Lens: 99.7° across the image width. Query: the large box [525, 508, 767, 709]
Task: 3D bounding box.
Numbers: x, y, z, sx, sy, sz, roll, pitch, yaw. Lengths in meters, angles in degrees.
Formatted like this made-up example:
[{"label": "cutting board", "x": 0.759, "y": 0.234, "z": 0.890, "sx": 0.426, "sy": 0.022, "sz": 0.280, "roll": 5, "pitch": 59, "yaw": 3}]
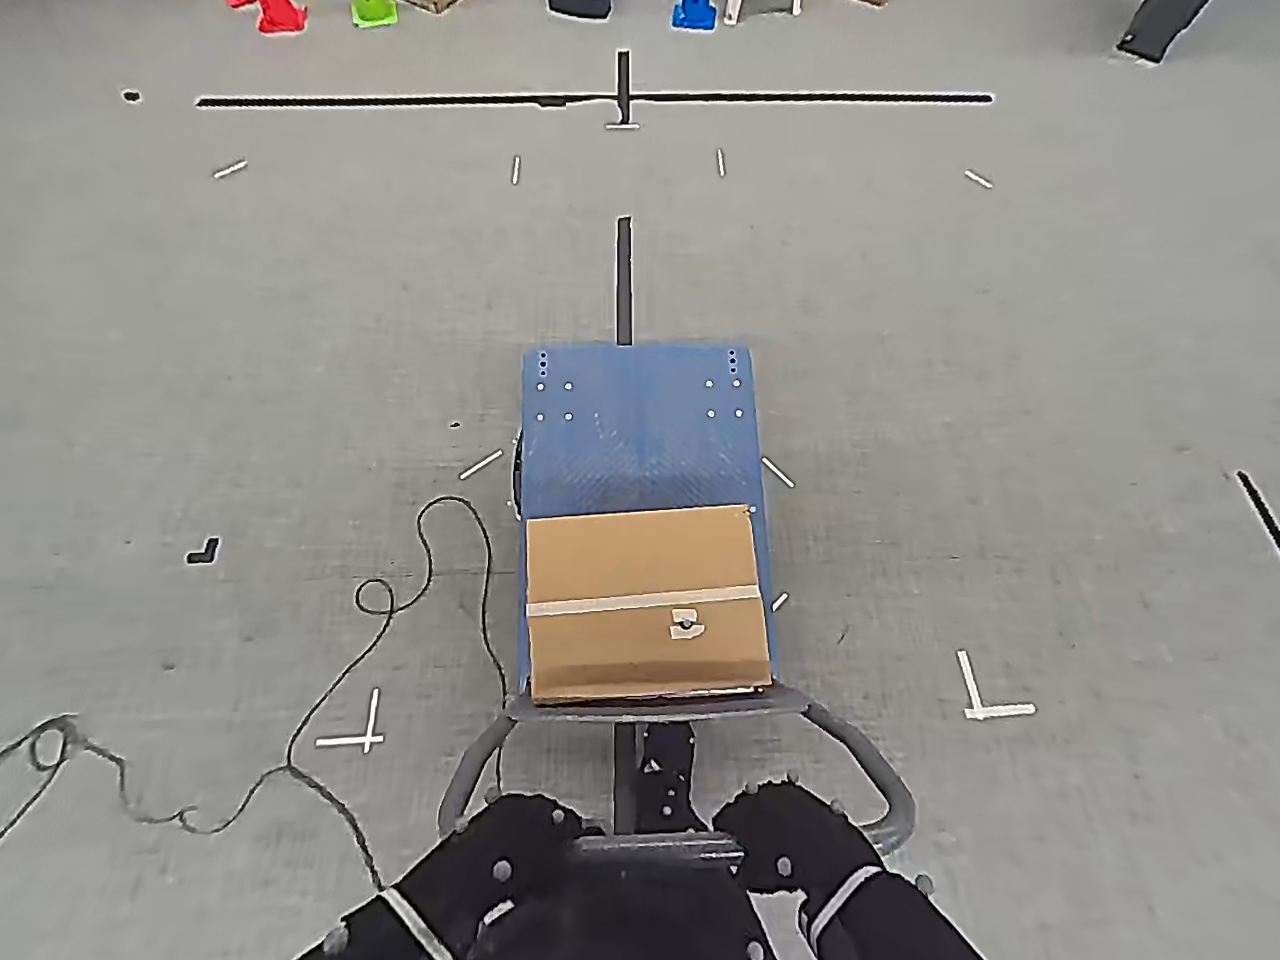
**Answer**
[{"label": "large box", "x": -0.002, "y": 0.250, "z": 1.077, "sx": 0.408, "sy": 0.320, "sz": 0.320, "roll": -4, "pitch": 77, "yaw": -3}]
